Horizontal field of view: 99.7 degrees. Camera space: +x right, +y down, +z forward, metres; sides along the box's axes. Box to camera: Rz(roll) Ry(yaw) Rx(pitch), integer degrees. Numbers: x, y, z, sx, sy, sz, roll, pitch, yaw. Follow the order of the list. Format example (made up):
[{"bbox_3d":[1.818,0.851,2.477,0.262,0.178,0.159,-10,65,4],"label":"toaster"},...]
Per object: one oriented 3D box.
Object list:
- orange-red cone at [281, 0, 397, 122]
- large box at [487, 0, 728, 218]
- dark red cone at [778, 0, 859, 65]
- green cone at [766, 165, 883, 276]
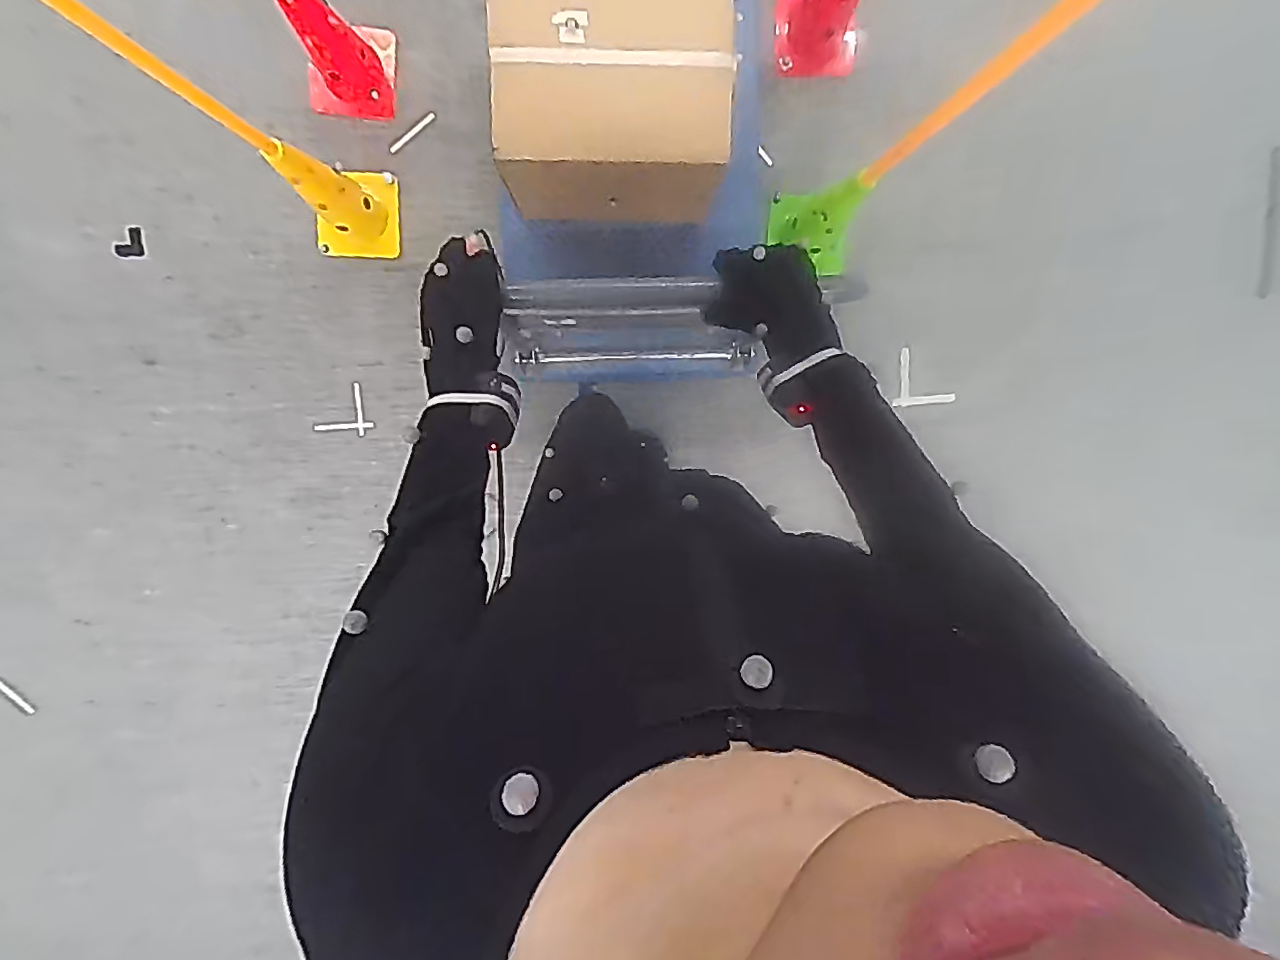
[{"bbox_3d":[-0.683,-0.965,1.140,0.198,0.360,0.199,5,96,-4],"label":"orange-red cone"},{"bbox_3d":[-0.054,-0.718,1.050,0.408,0.320,0.320,0,98,-2],"label":"large box"},{"bbox_3d":[0.444,-1.092,1.147,0.201,0.394,0.202,-2,98,-4],"label":"dark red cone"},{"bbox_3d":[0.439,-0.613,1.229,0.202,0.368,0.200,1,98,-4],"label":"green cone"}]
